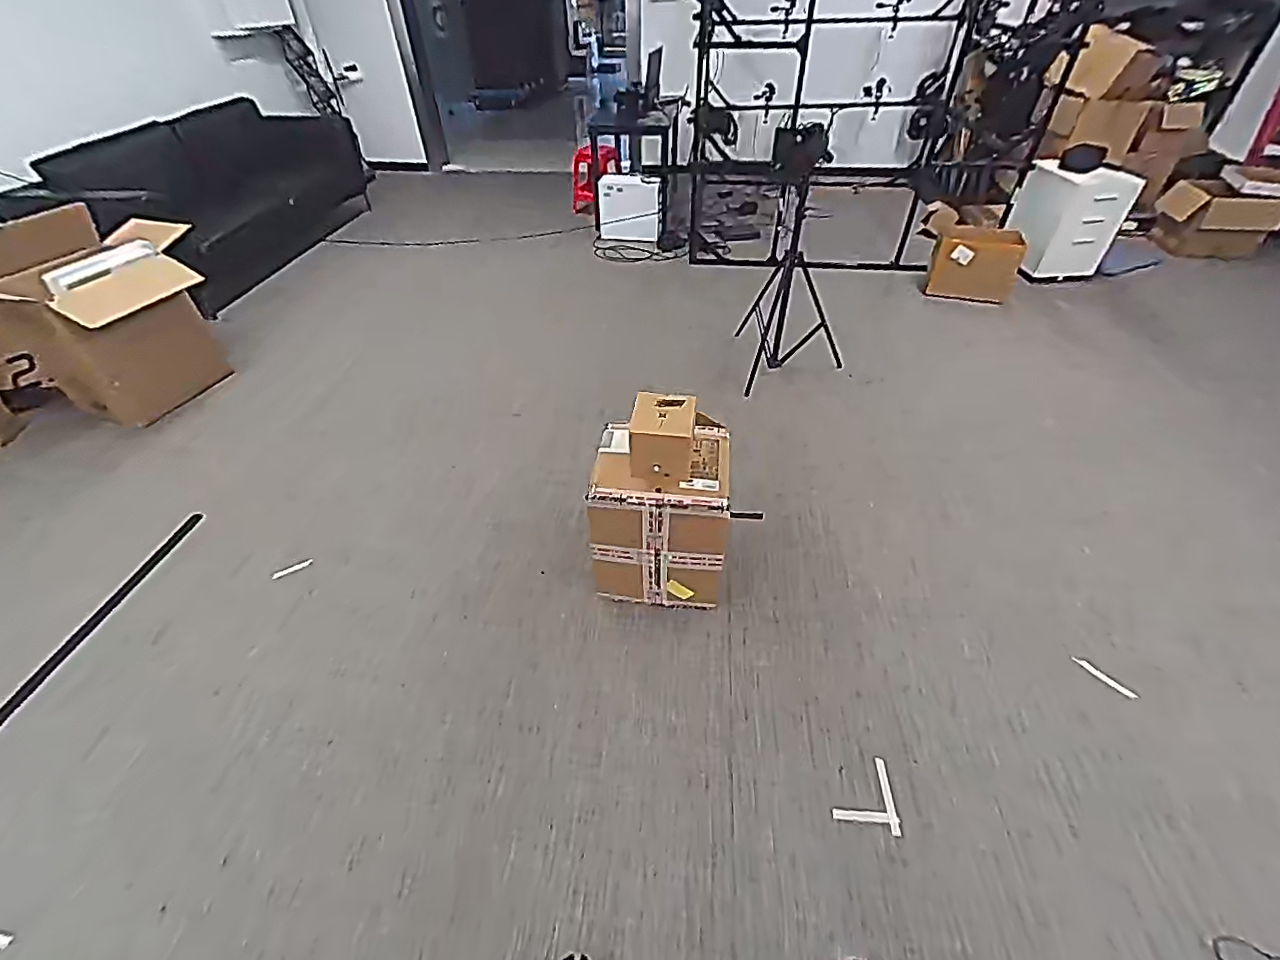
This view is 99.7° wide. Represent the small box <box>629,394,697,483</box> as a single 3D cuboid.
[{"bbox_3d":[0.065,-0.115,1.508,0.168,0.176,0.179,5,47,7],"label":"small box"}]
